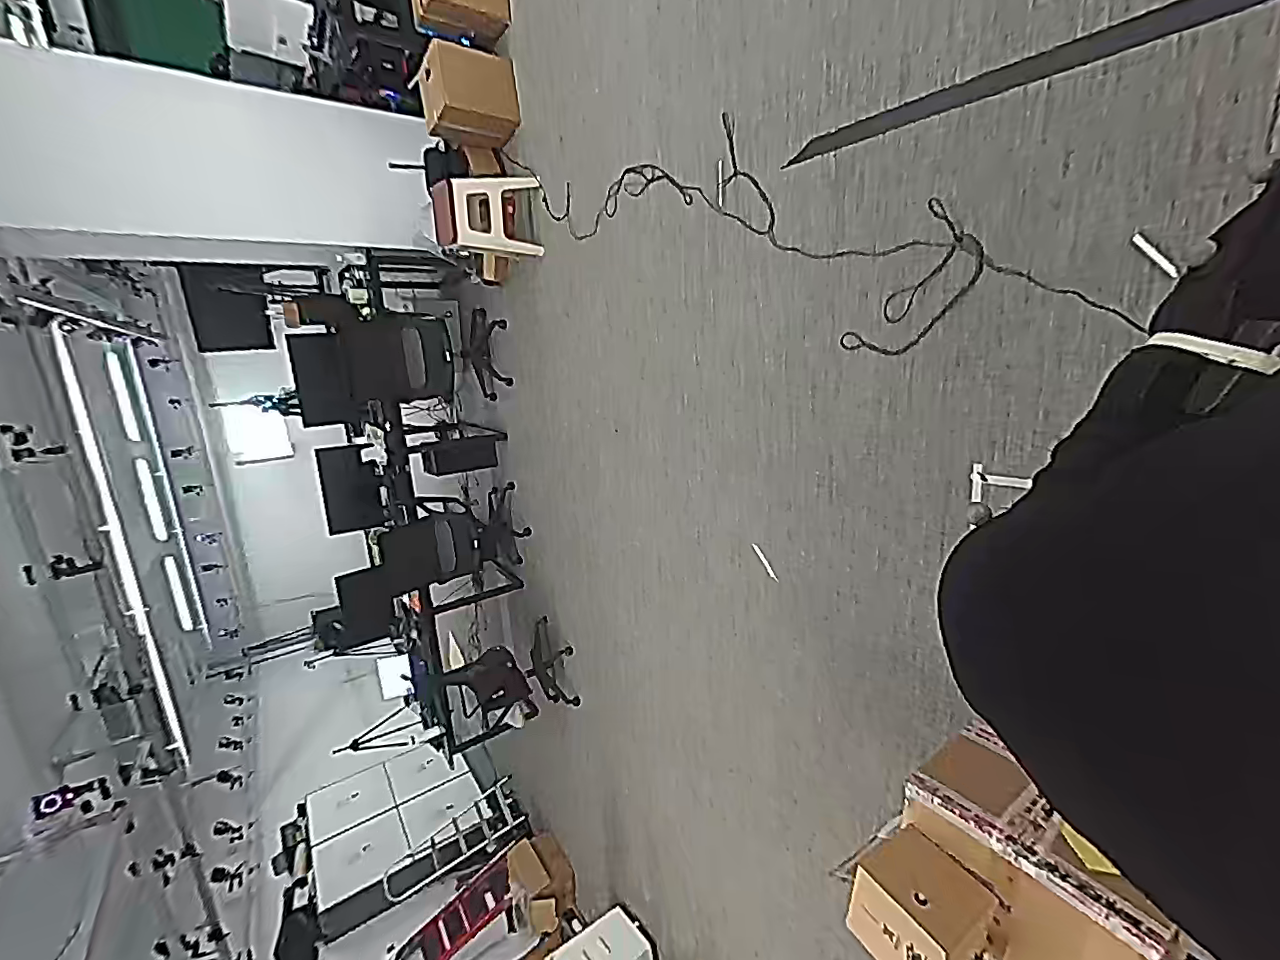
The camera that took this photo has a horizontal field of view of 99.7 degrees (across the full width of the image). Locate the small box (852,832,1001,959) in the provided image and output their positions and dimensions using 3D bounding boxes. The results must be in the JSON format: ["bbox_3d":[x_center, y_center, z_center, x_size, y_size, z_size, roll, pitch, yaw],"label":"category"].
[{"bbox_3d":[0.531,0.809,1.006,0.179,0.176,0.168,28,122,53],"label":"small box"}]
